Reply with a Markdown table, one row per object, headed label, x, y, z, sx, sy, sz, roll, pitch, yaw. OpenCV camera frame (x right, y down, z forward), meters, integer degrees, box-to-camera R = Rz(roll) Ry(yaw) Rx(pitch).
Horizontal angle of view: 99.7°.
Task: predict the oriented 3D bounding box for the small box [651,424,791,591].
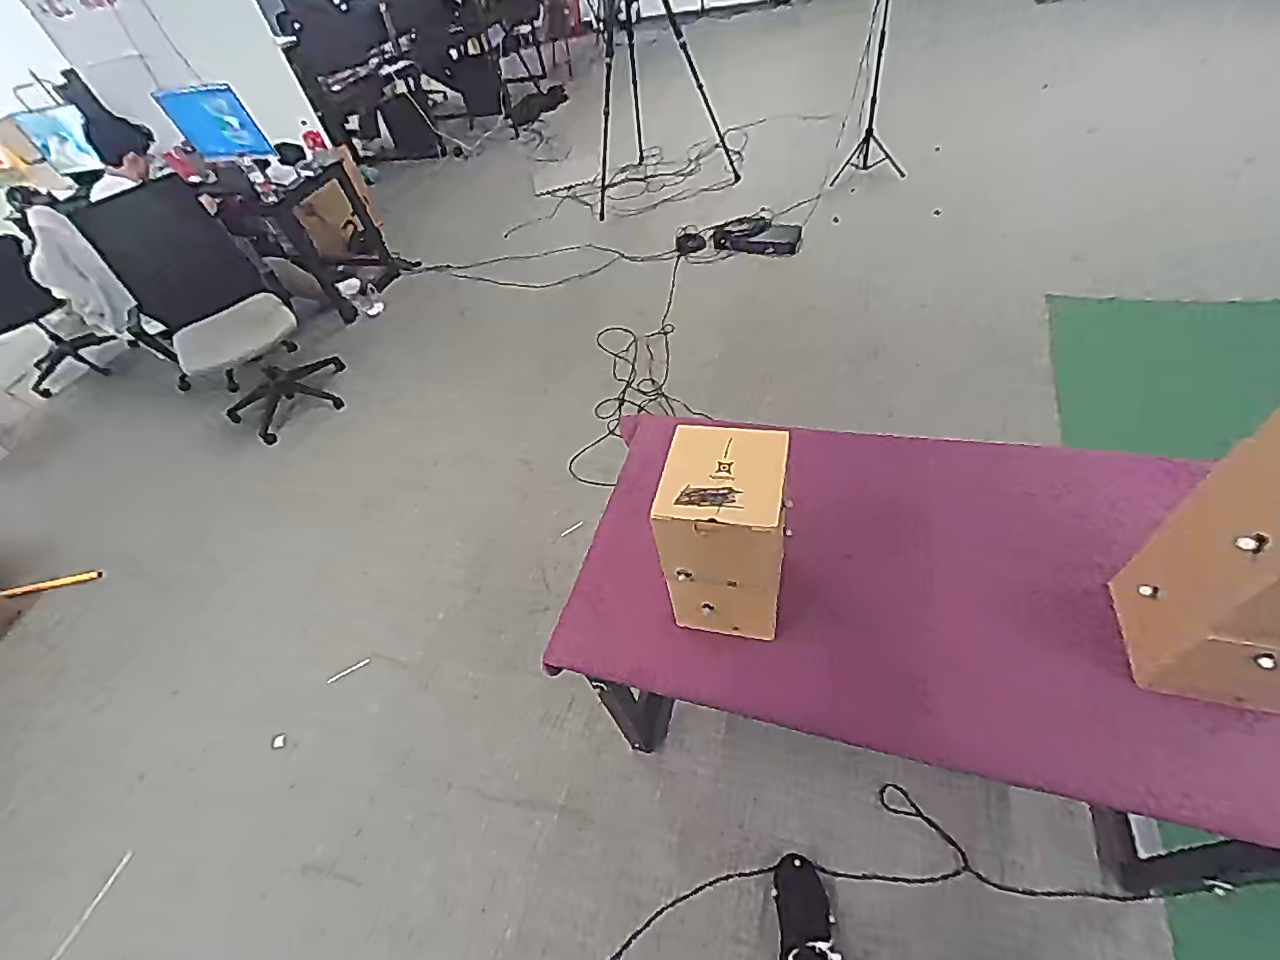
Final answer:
| label | x | y | z | sx | sy | sz | roll | pitch | yaw |
| --- | --- | --- | --- | --- | --- | --- | --- | --- | --- |
| small box | 0.127 | 0.041 | 0.789 | 0.168 | 0.176 | 0.179 | 6 | 50 | 17 |

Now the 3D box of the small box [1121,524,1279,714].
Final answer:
| label | x | y | z | sx | sy | sz | roll | pitch | yaw |
| --- | --- | --- | --- | --- | --- | --- | --- | --- | --- |
| small box | 0.797 | 0.185 | 0.728 | 0.168 | 0.176 | 0.179 | 5 | 50 | 19 |

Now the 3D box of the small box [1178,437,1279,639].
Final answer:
| label | x | y | z | sx | sy | sz | roll | pitch | yaw |
| --- | --- | --- | --- | --- | --- | --- | --- | --- | --- |
| small box | 0.769 | 0.077 | 0.606 | 0.168 | 0.176 | 0.179 | 8 | 51 | 19 |

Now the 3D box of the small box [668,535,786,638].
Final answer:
| label | x | y | z | sx | sy | sz | roll | pitch | yaw |
| --- | --- | --- | --- | --- | --- | --- | --- | --- | --- |
| small box | 0.155 | 0.146 | 0.913 | 0.168 | 0.176 | 0.179 | 5 | 51 | 17 |
